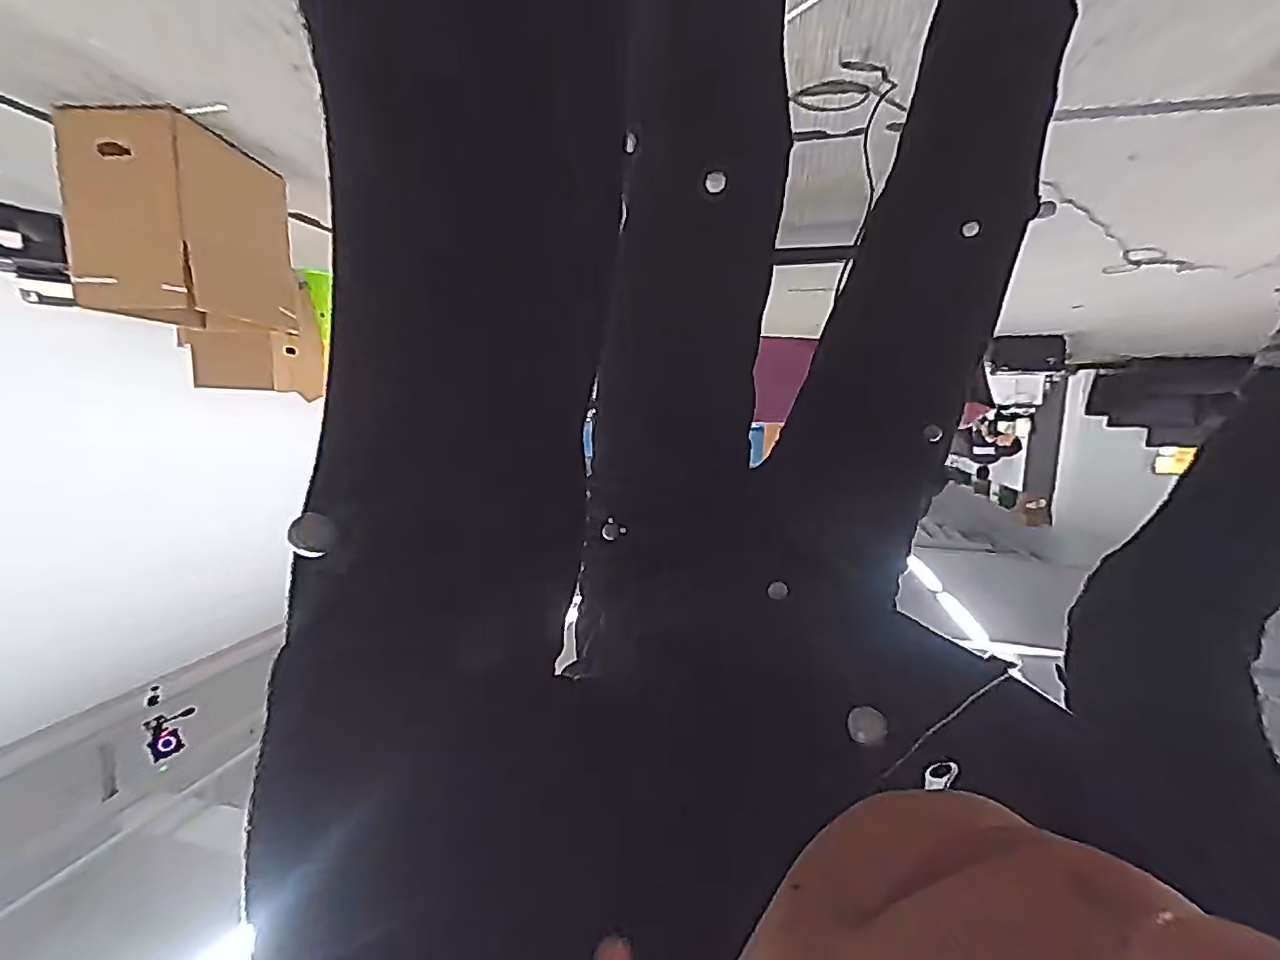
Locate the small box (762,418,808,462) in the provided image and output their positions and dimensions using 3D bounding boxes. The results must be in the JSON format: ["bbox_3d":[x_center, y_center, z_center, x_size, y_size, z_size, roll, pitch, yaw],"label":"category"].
[{"bbox_3d":[0.609,-0.172,2.267,0.168,0.176,0.179,4,-171,21],"label":"small box"}]
